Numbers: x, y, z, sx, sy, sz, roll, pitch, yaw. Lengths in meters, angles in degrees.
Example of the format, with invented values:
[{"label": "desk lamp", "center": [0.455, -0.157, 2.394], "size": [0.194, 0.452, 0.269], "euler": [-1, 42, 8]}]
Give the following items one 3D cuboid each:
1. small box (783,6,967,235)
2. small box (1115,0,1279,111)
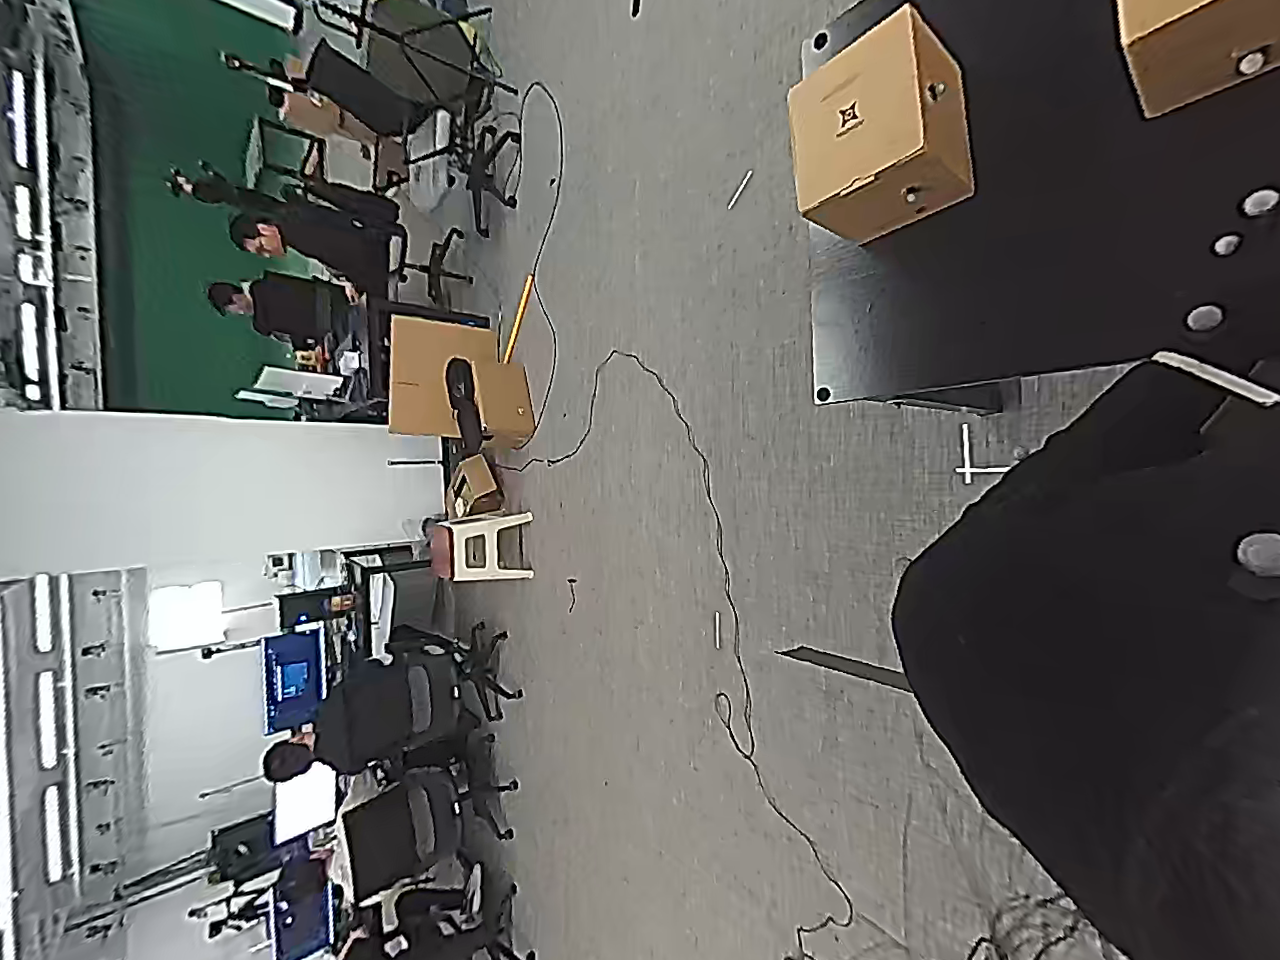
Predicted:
[{"label": "small box", "center": [0.313, -0.449, 0.719], "size": [0.168, 0.176, 0.179], "euler": [-8, 85, 48]}, {"label": "small box", "center": [0.528, -0.473, 0.465], "size": [0.168, 0.176, 0.179], "euler": [-4, 90, 50]}]
